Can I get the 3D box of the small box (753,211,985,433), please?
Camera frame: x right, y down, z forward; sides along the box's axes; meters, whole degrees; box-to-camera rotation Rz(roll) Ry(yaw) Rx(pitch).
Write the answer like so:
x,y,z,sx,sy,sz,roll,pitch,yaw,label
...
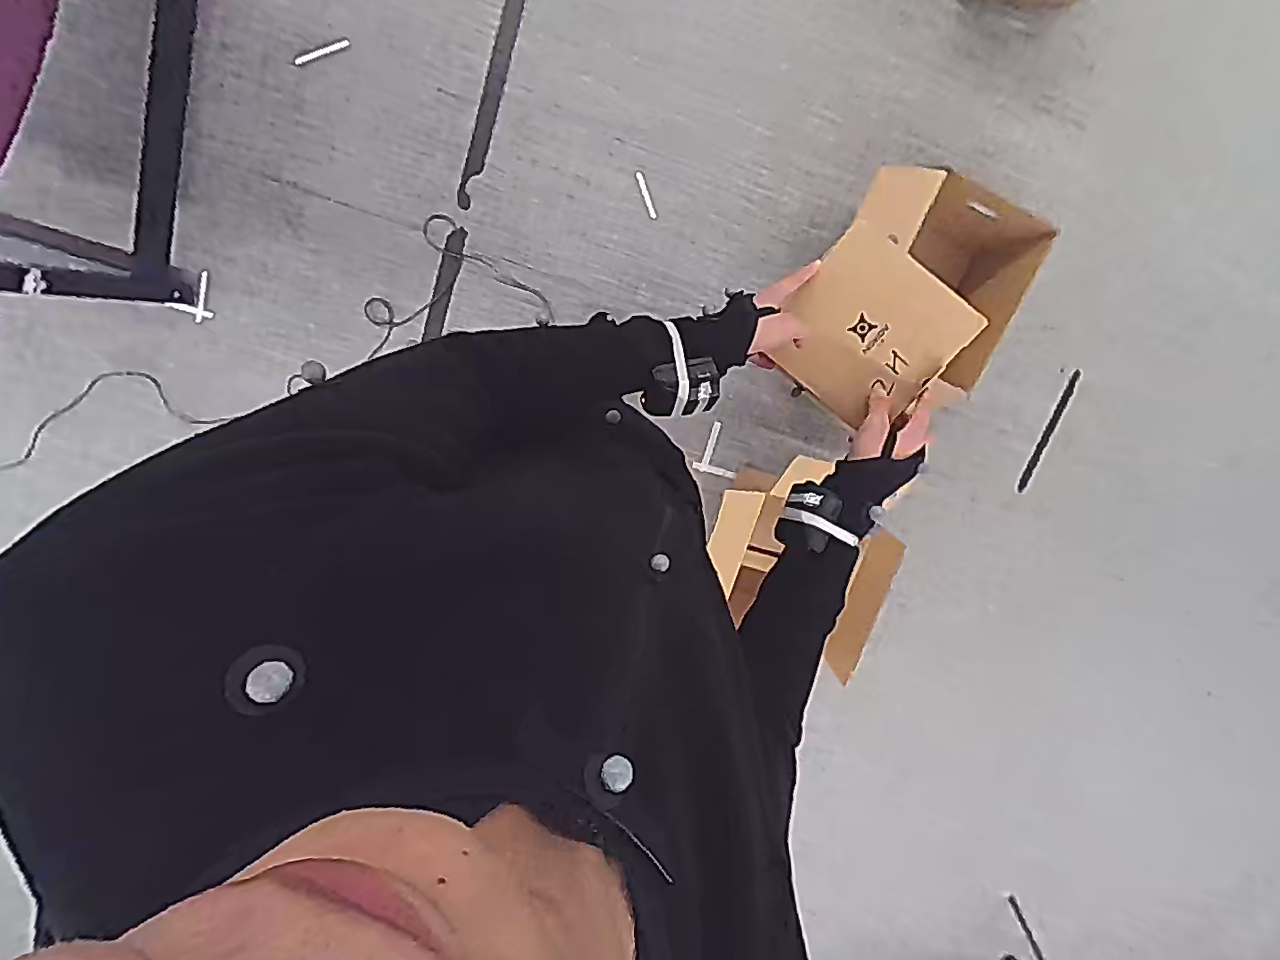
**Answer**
x,y,z,sx,sy,sz,roll,pitch,yaw,label
0.252,-0.179,0.649,0.179,0.176,0.168,39,106,-1,small box
